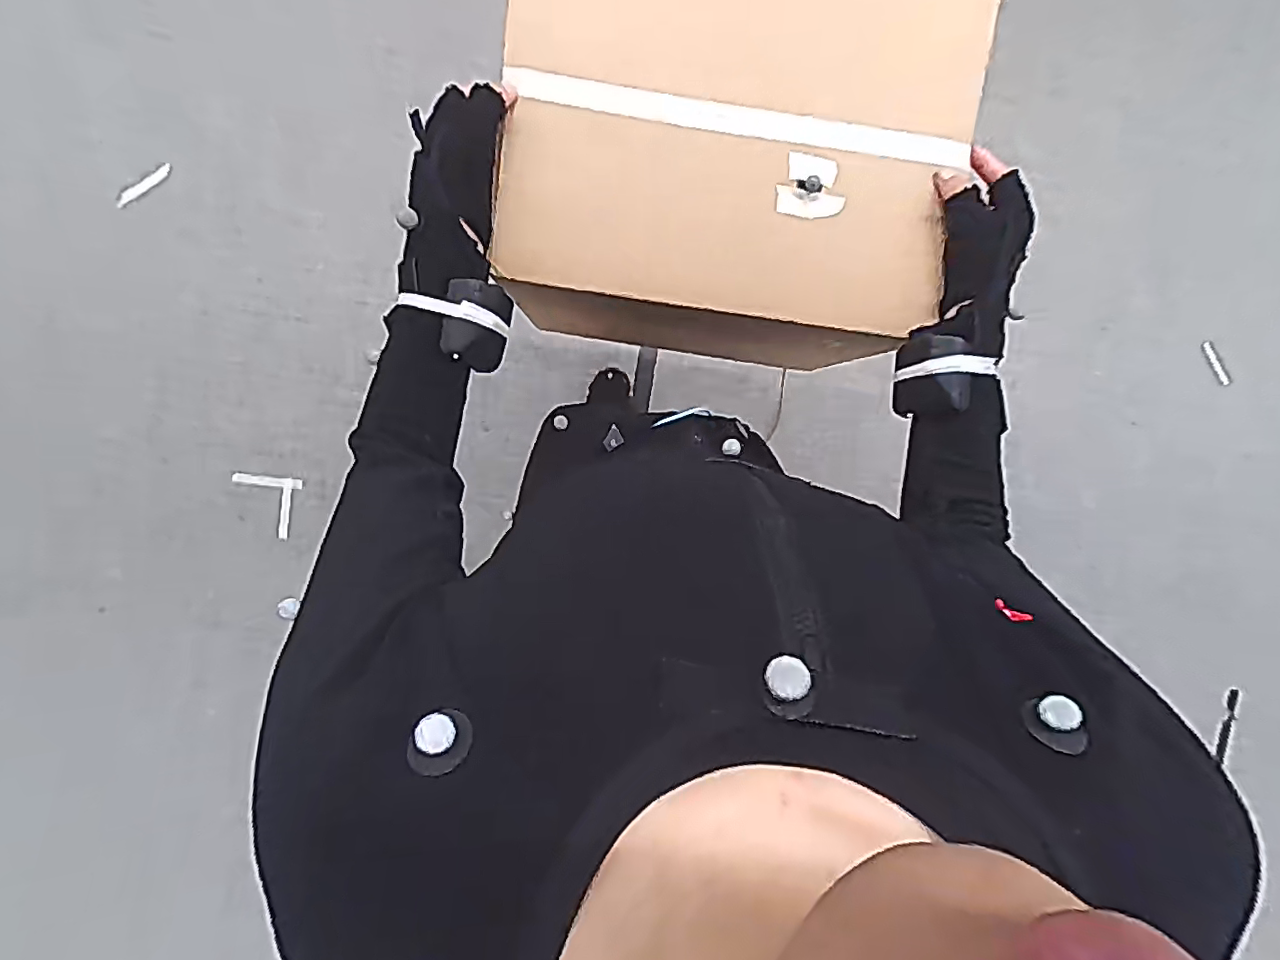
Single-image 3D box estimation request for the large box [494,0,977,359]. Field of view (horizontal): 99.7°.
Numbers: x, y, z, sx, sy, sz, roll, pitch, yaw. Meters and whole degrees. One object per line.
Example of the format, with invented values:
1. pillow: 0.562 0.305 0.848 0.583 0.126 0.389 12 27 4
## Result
1. large box: 0.074 -0.332 0.624 0.408 0.320 0.320 8 97 -4
